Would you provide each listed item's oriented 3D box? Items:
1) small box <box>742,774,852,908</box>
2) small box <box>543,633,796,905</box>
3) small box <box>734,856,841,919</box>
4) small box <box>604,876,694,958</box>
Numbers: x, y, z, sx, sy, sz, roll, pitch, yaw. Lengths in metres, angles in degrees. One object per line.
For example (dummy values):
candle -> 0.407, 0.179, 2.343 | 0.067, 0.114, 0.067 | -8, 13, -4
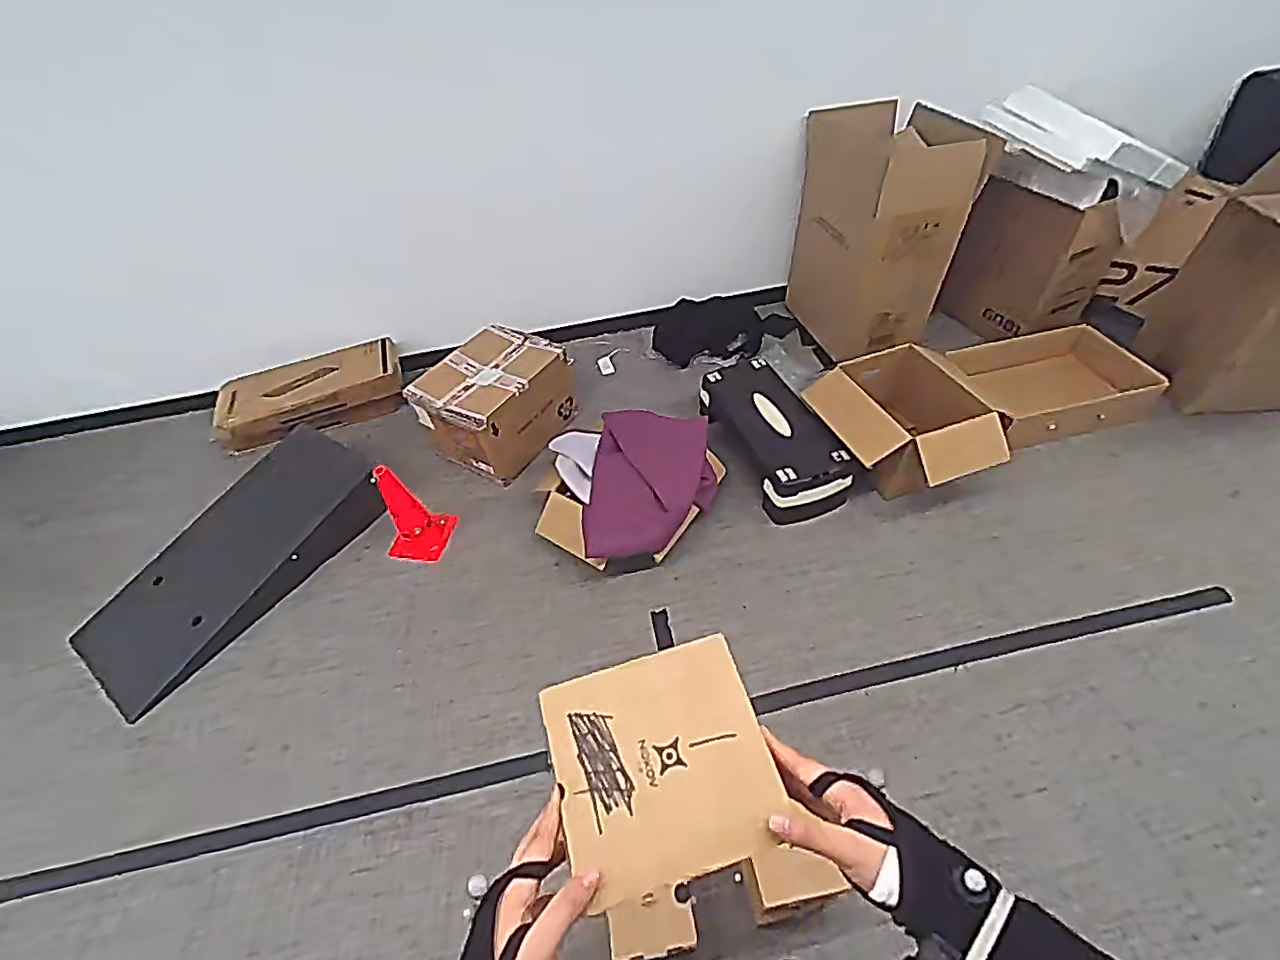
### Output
small box -> 0.279, 0.697, 1.042 | 0.168, 0.176, 0.179 | -11, 49, -3
small box -> 0.023, 0.272, 0.510 | 0.179, 0.176, 0.168 | -16, 55, -6
small box -> 0.298, 0.814, 1.156 | 0.179, 0.176, 0.168 | -12, 48, -5
small box -> 0.017, 0.871, 1.133 | 0.168, 0.176, 0.179 | -10, 49, -2
